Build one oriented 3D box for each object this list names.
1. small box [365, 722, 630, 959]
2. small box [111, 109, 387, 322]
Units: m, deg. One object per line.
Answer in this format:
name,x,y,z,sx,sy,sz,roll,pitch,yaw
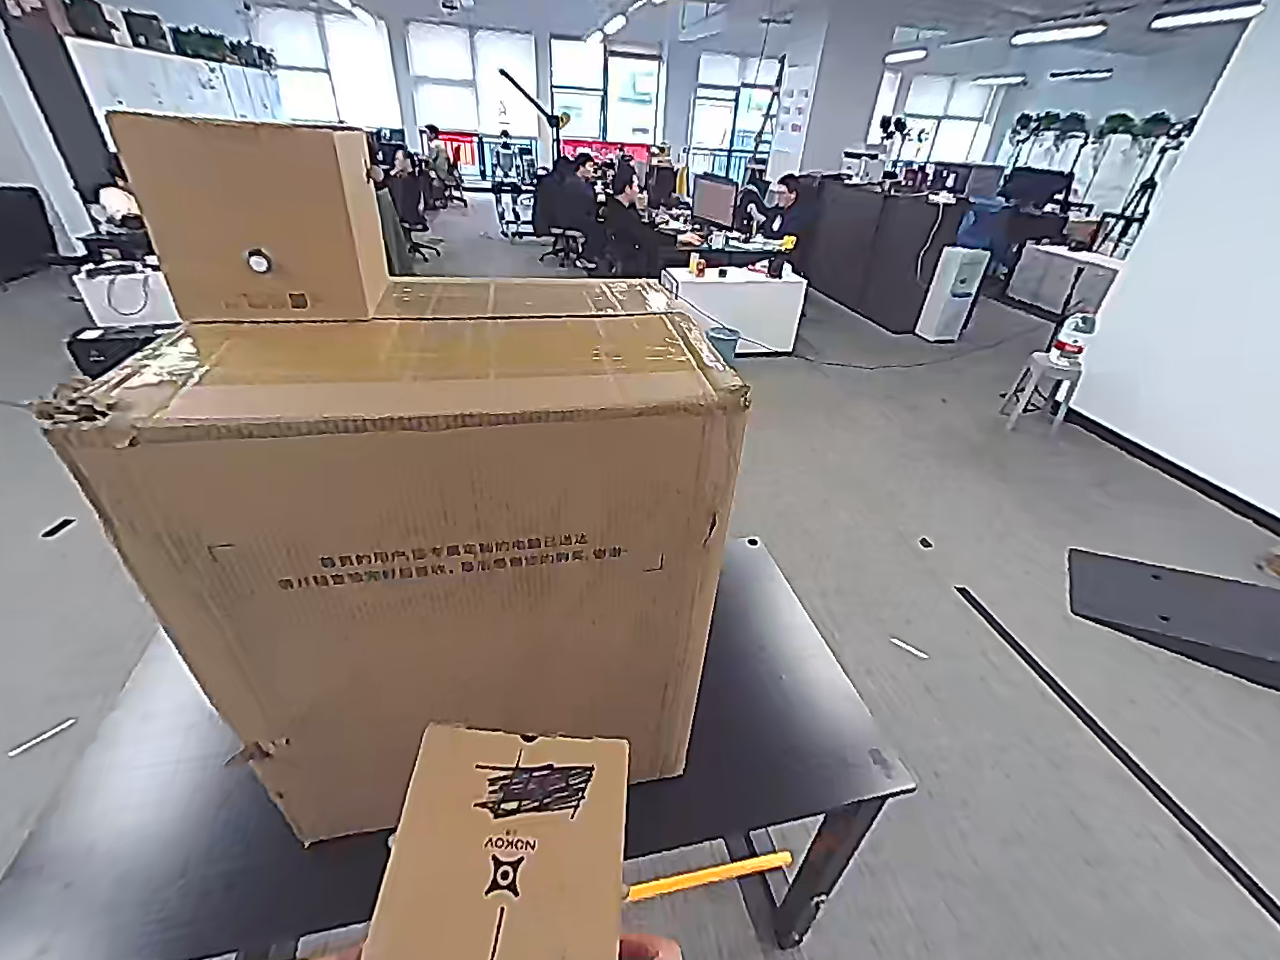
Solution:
small box,-0.102,0.321,0.442,0.168,0.176,0.179,6,47,-5
small box,-0.371,-0.270,0.559,0.168,0.176,0.179,-5,33,-14
